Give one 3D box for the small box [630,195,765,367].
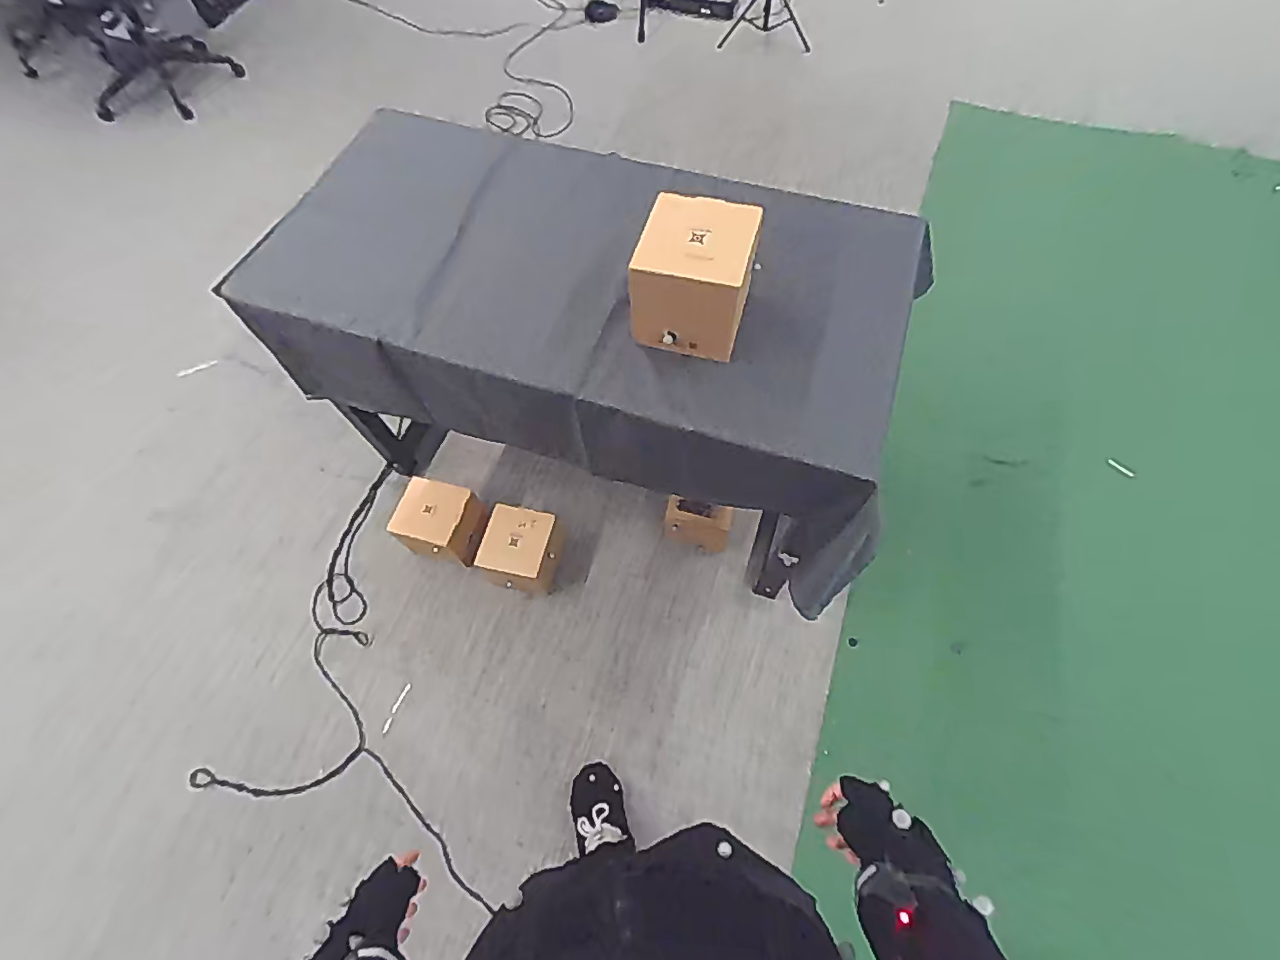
[{"bbox_3d":[0.088,-0.312,0.861,0.168,0.176,0.179,14,64,10],"label":"small box"}]
